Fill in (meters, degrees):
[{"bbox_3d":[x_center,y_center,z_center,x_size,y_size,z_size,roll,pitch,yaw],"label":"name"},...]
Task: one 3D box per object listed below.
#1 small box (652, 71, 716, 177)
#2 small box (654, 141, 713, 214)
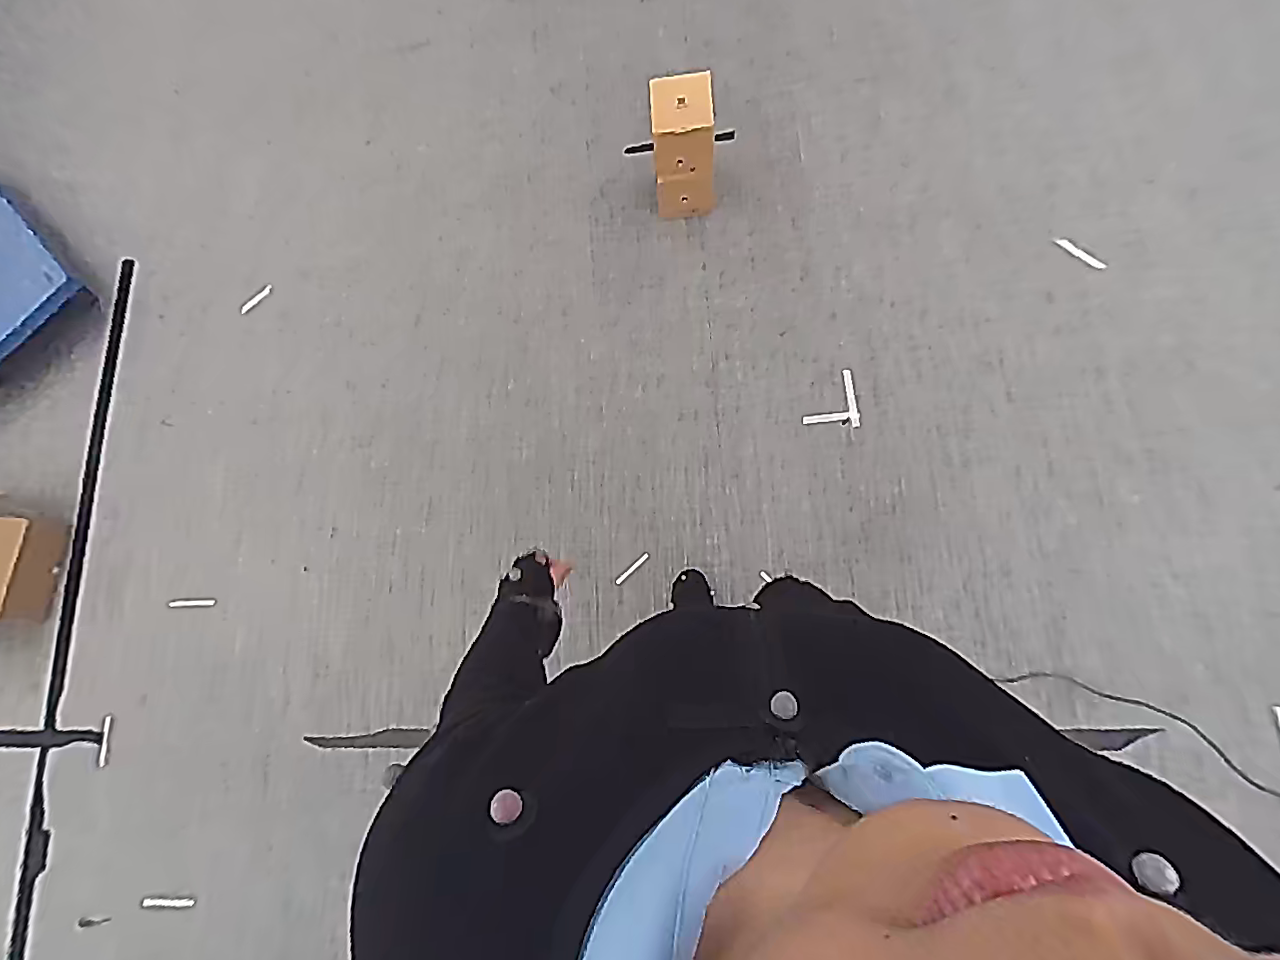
[{"bbox_3d":[0.122,-0.988,1.509,0.168,0.176,0.179,-4,79,6],"label":"small box"},{"bbox_3d":[0.137,-0.946,1.666,0.168,0.176,0.179,-6,78,5],"label":"small box"}]
